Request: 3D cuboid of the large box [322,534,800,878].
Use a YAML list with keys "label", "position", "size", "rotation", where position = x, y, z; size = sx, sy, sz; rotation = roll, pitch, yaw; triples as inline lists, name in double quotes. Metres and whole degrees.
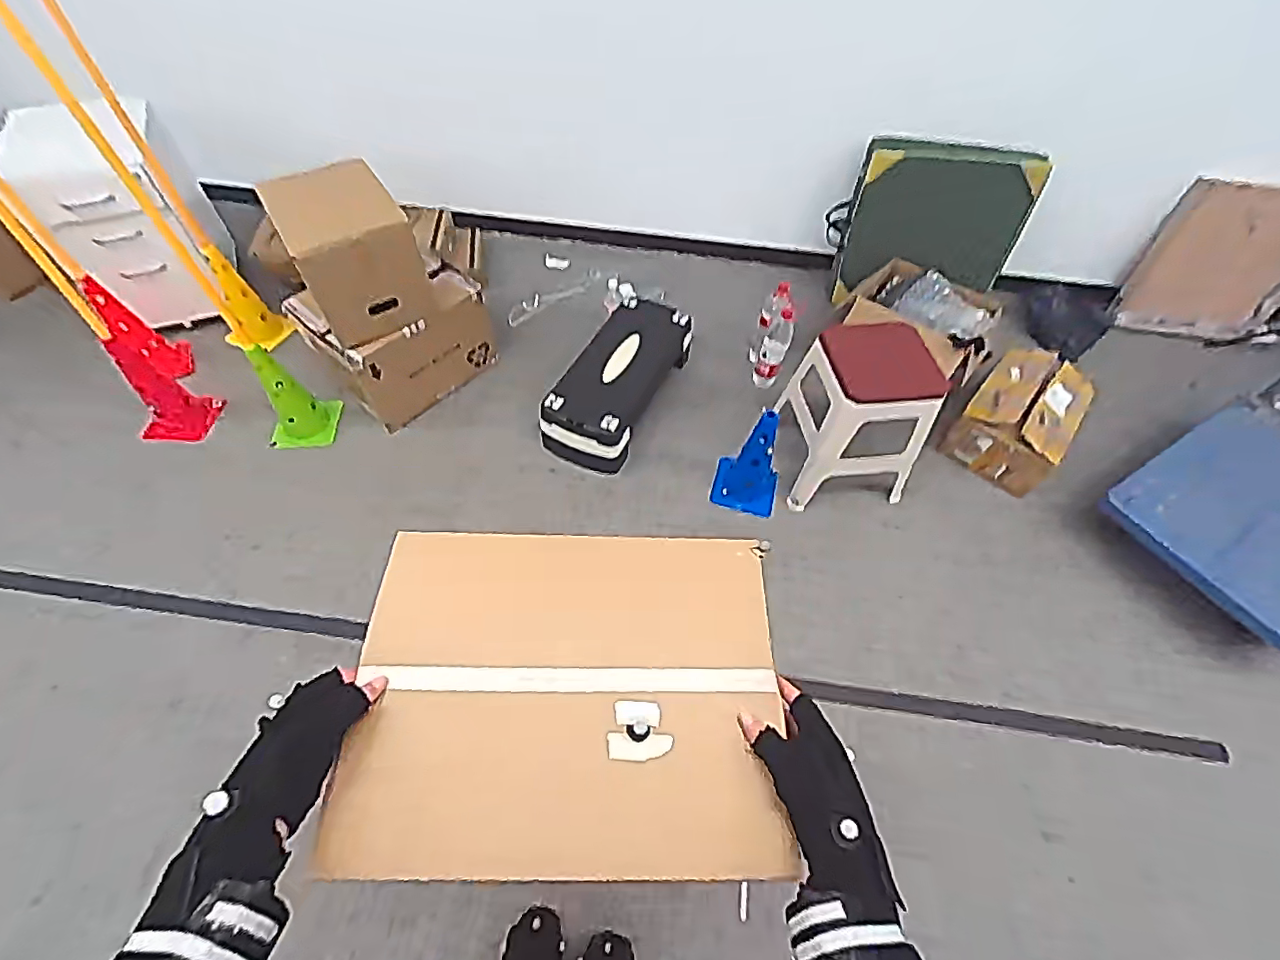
- label: "large box"
  position: [-0.073, 0.275, 0.651]
  size: [0.408, 0.320, 0.320]
  rotation: [2, 57, -3]
